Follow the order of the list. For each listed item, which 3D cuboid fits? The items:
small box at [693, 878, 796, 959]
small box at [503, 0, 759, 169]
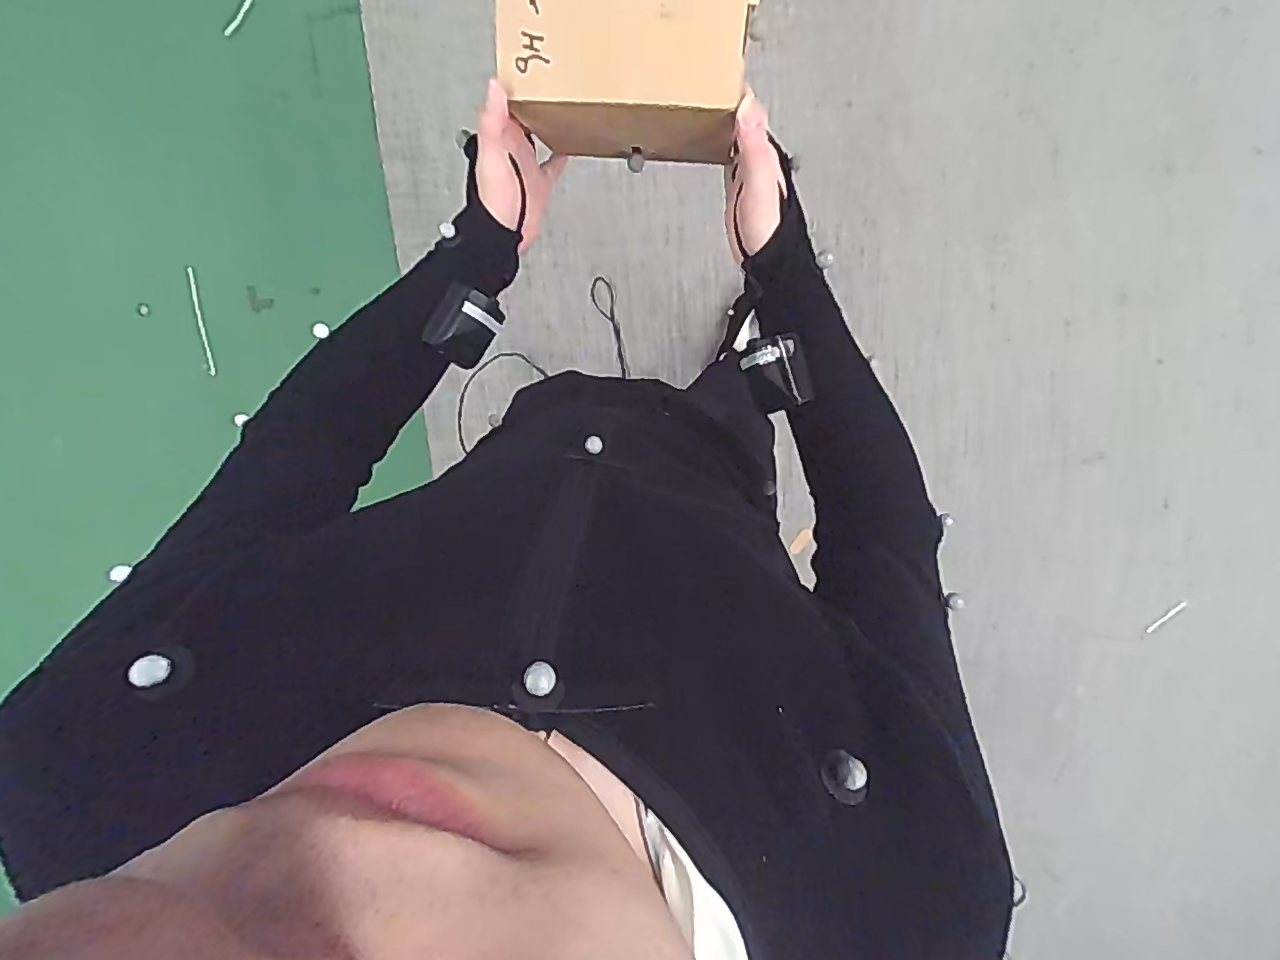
[{"bbox_3d":[0.190,0.878,1.001,0.179,0.176,0.168,-5,102,5],"label":"small box"},{"bbox_3d":[-0.001,-0.363,0.434,0.179,0.176,0.168,5,108,3],"label":"small box"}]
